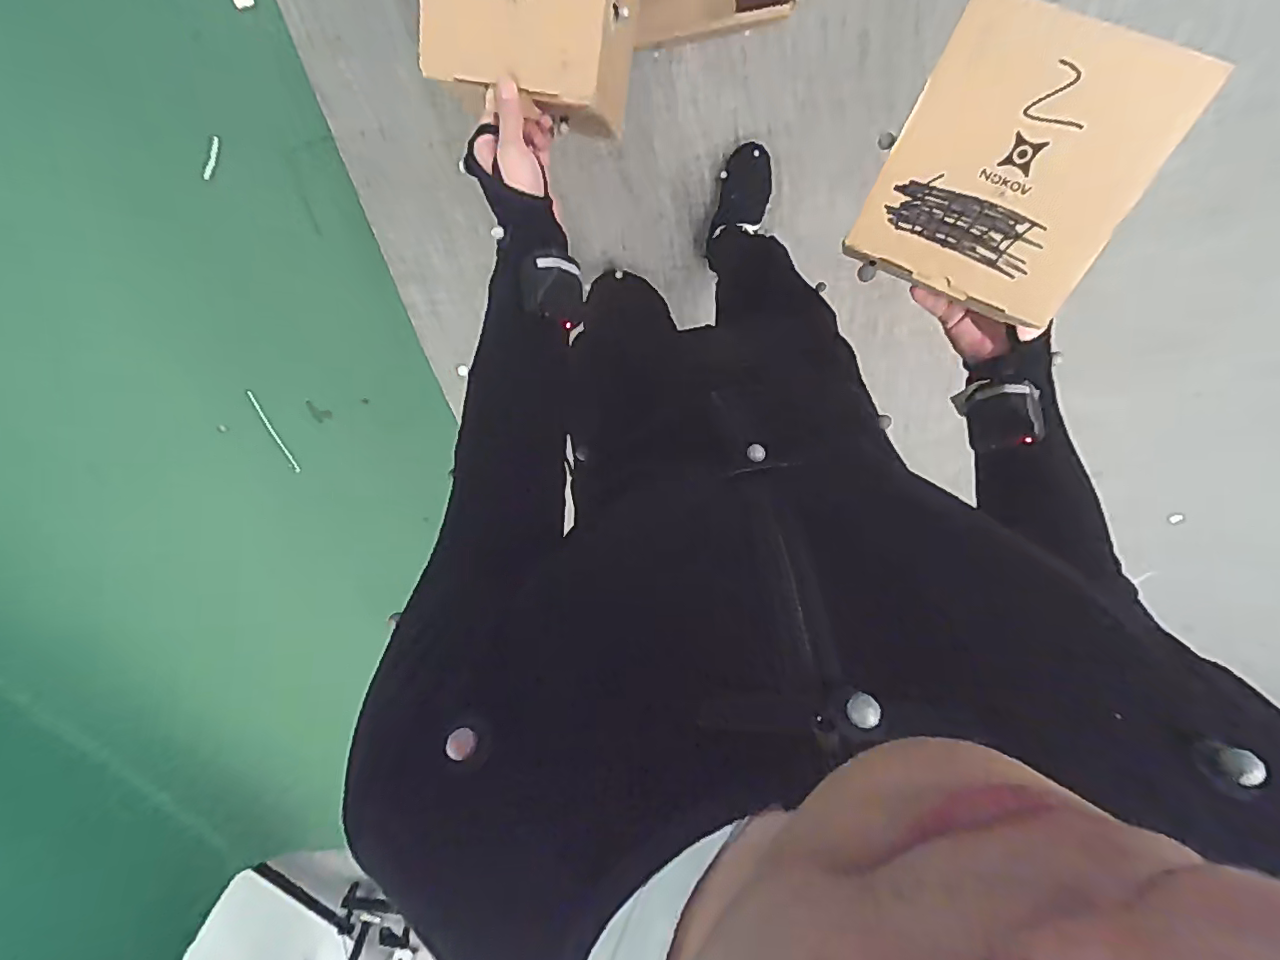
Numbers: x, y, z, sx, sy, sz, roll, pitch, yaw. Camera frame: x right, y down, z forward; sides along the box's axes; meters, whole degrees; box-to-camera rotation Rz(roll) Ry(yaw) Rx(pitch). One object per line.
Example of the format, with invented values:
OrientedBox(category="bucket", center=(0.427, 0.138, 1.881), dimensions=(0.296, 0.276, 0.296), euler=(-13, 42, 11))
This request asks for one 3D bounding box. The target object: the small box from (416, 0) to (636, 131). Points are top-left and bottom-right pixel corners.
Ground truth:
OrientedBox(category="small box", center=(-0.099, -0.467, 0.529), dimensions=(0.168, 0.176, 0.179), euler=(11, 111, 2))
